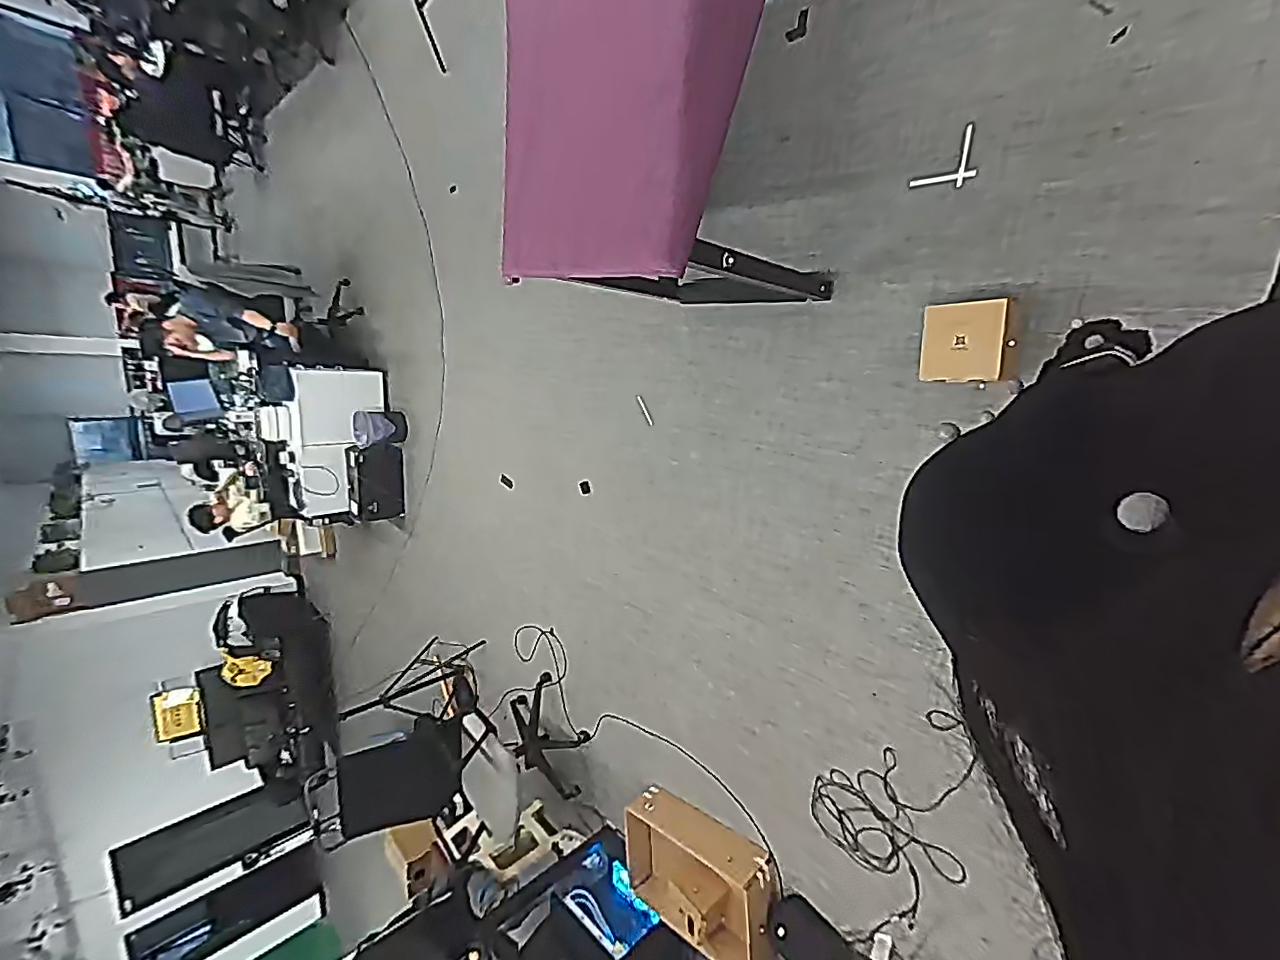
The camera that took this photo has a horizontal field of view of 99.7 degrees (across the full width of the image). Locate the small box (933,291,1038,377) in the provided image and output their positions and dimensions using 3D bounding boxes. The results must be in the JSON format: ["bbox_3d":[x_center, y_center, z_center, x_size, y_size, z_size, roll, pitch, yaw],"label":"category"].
[{"bbox_3d":[0.804,-0.330,1.256,0.168,0.176,0.179,9,102,45],"label":"small box"}]
